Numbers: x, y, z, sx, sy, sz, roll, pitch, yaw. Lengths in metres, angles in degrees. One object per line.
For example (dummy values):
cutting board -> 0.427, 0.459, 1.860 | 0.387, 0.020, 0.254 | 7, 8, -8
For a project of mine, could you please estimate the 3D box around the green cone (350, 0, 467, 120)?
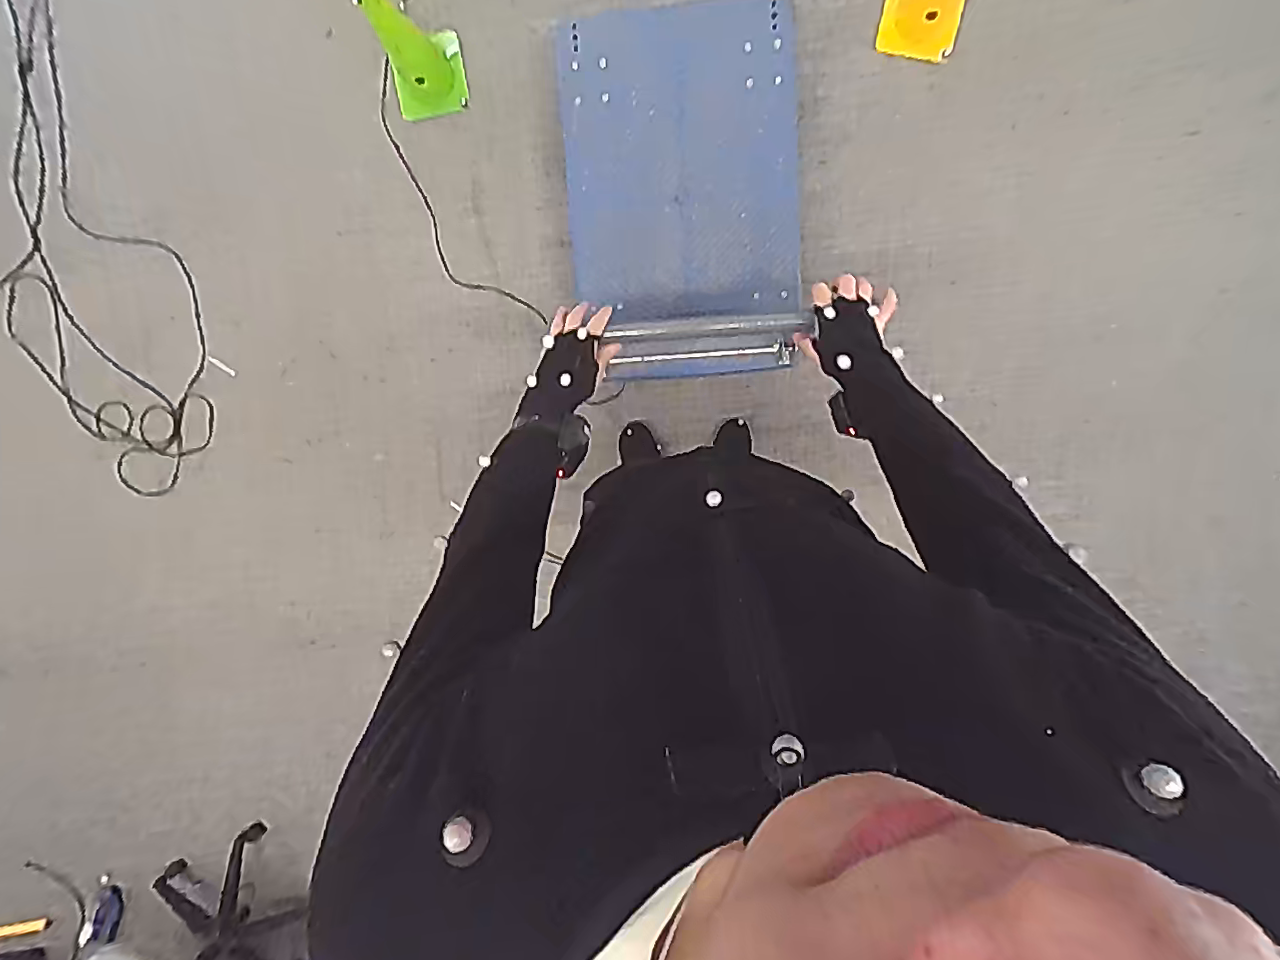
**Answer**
green cone -> -0.602, -1.093, 1.322 | 0.202, 0.368, 0.200 | -9, 97, 6
